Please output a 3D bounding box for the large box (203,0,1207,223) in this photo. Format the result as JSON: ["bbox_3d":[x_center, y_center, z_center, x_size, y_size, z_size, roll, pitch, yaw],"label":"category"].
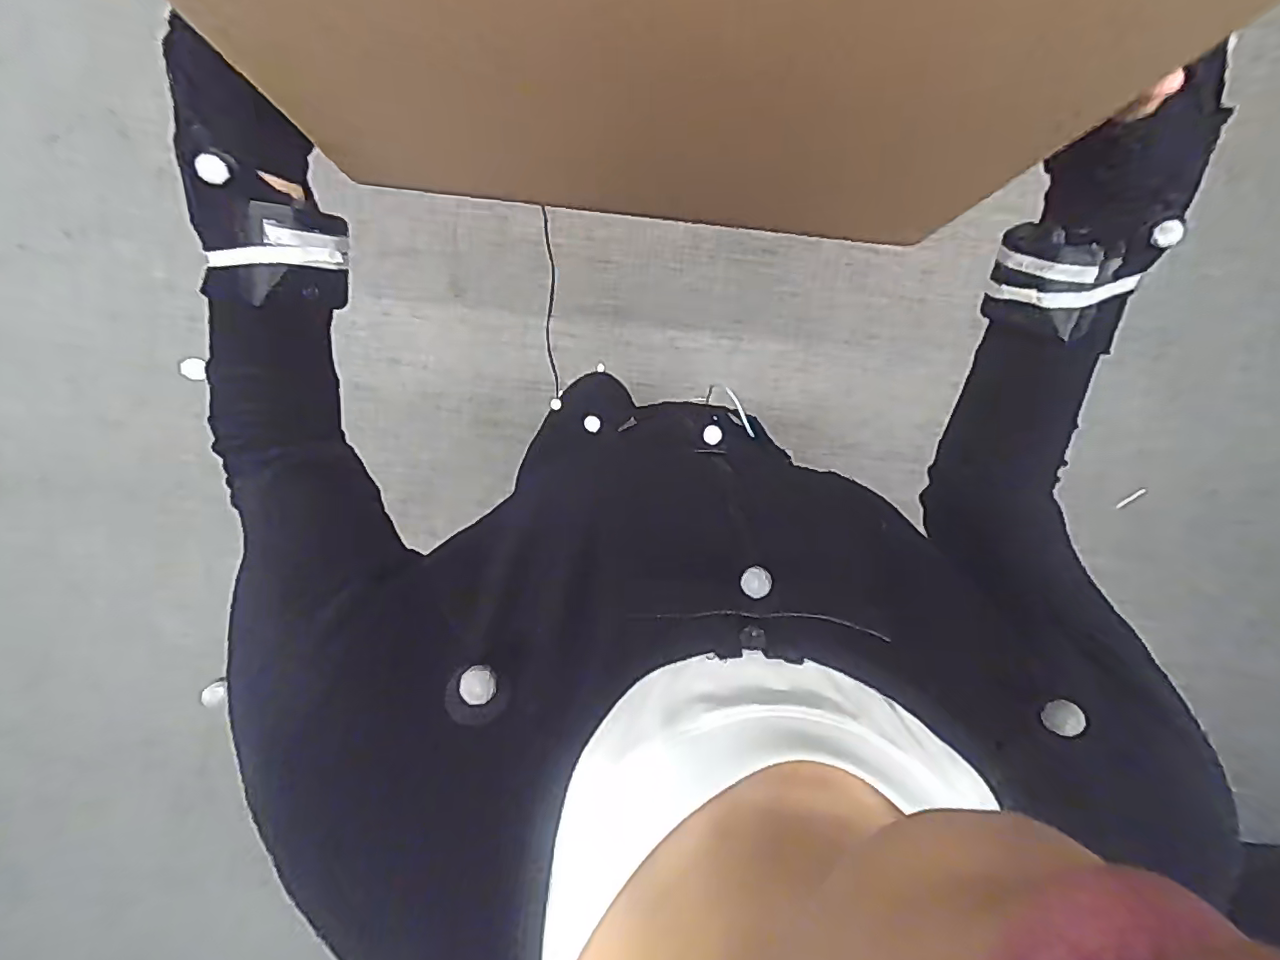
[{"bbox_3d":[0.019,-0.337,0.223,0.408,0.320,0.320,5,94,-2],"label":"large box"}]
